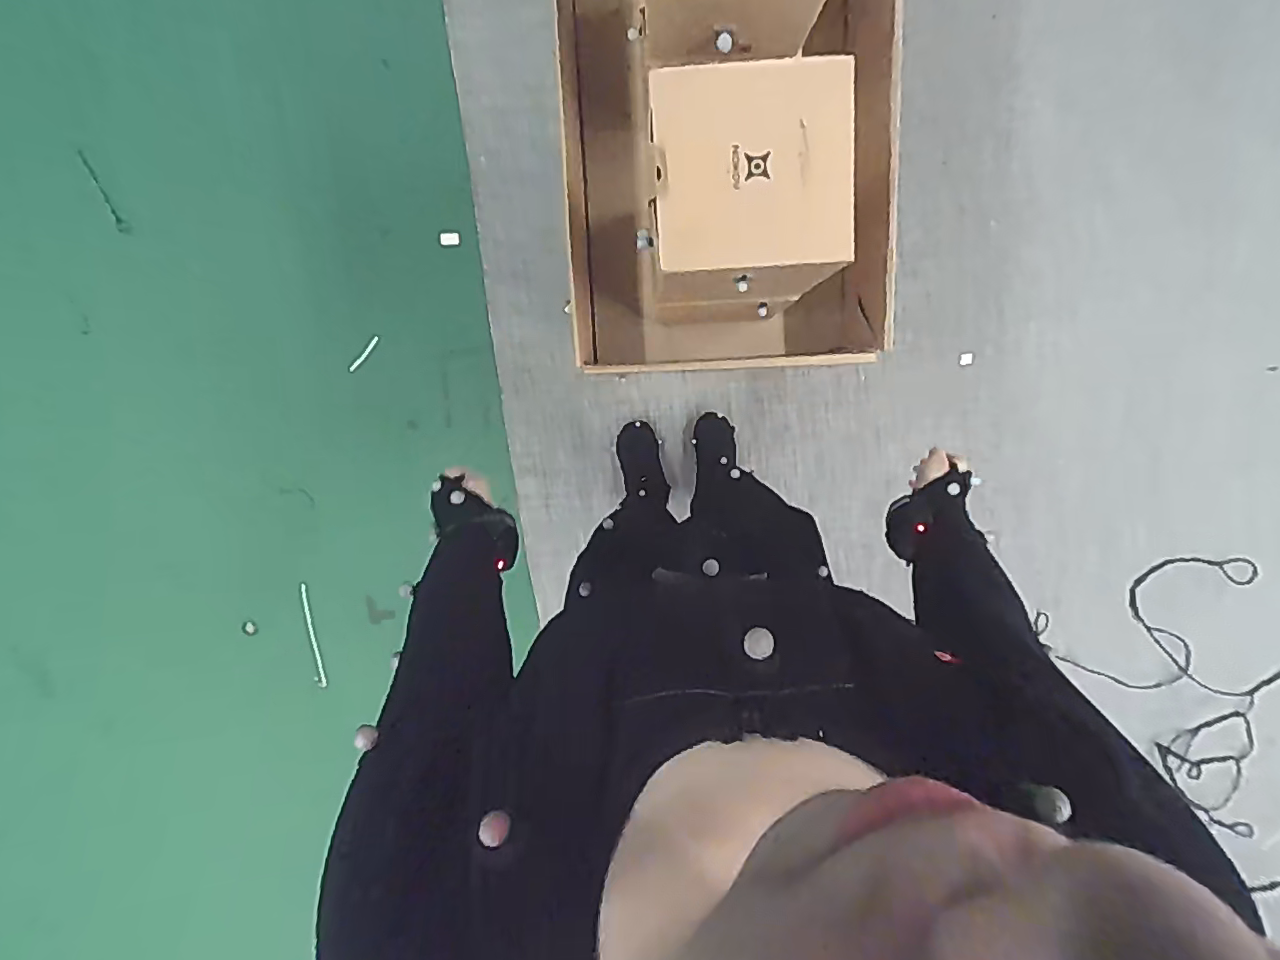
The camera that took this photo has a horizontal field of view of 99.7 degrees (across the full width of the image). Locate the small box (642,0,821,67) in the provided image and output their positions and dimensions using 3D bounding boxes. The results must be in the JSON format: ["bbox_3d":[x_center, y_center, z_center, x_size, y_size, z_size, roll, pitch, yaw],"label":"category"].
[{"bbox_3d":[0.086,-0.534,0.510,0.168,0.176,0.179,-1,102,-1],"label":"small box"}]

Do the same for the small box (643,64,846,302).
[{"bbox_3d":[0.094,-0.283,0.554,0.179,0.176,0.168,-4,99,-1],"label":"small box"}]
